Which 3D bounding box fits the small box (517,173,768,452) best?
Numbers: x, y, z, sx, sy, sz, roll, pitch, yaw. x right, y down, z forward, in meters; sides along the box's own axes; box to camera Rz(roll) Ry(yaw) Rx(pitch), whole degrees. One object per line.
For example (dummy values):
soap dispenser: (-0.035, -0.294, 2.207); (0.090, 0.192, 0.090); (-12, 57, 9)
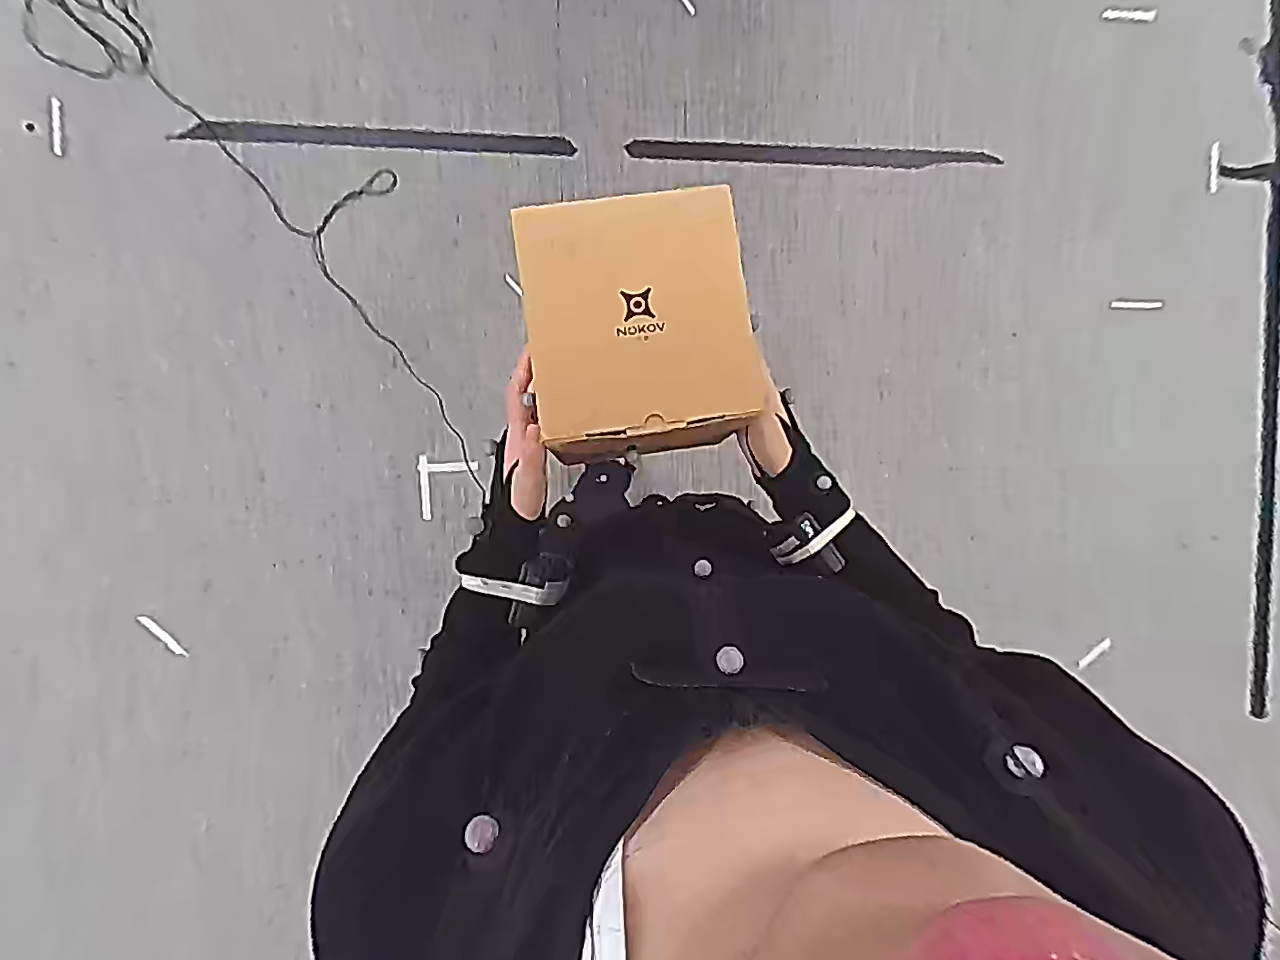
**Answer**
small box: (-0.004, -0.129, 0.473); (0.168, 0.176, 0.179); (-9, 88, -4)
